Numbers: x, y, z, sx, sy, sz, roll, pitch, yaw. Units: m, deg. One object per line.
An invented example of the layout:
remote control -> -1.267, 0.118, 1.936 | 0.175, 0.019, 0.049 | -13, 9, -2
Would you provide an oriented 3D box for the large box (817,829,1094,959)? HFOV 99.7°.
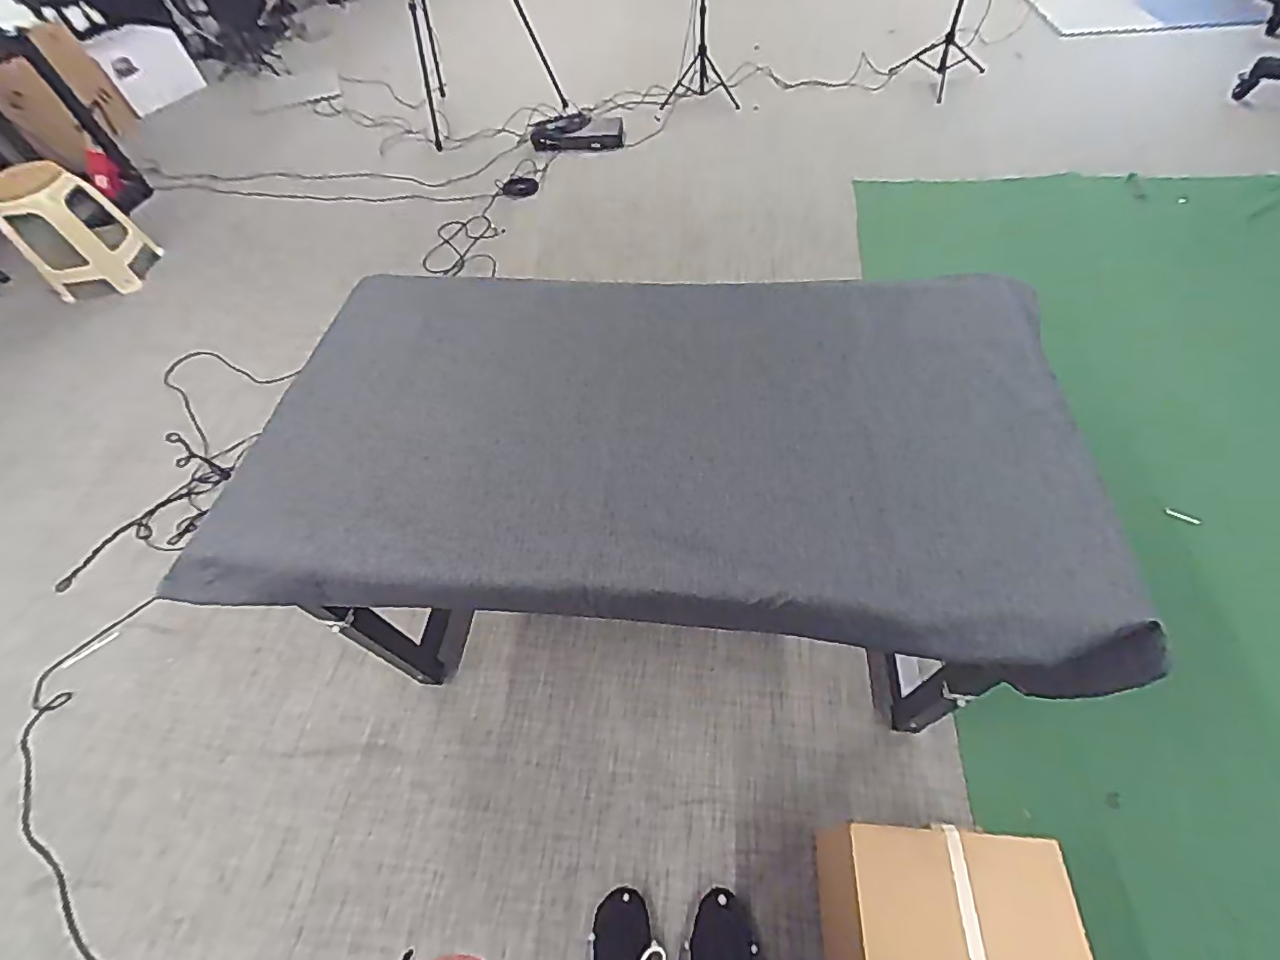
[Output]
large box -> 0.488, 0.801, 0.855 | 0.320, 0.320, 0.408 | 0, 55, 7
